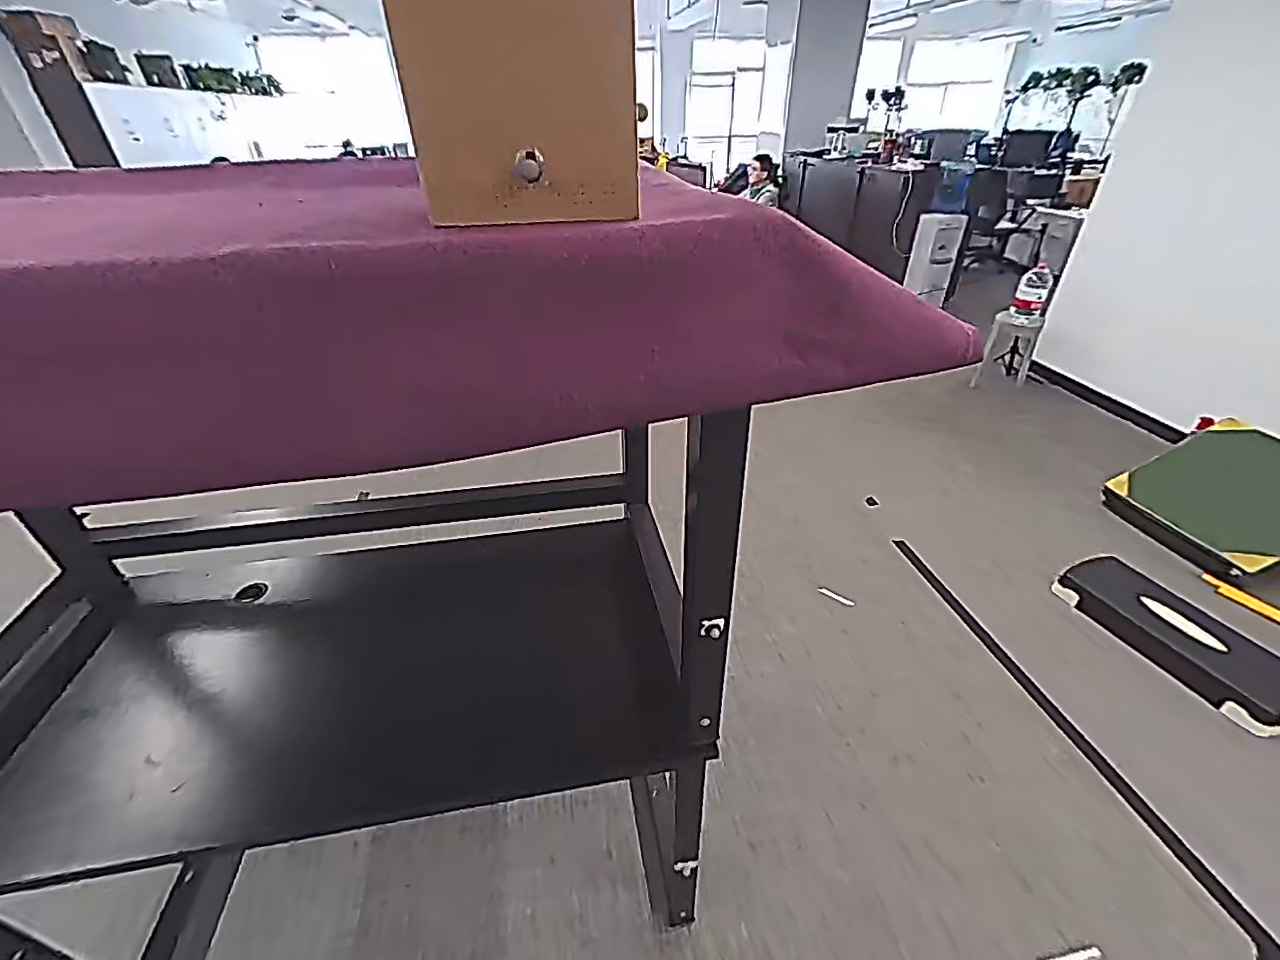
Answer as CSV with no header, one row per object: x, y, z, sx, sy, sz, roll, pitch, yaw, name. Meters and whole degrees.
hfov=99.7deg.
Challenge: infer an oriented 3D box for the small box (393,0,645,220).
-0.088,-0.331,0.469,0.179,0.176,0.168,-4,33,-3,small box
